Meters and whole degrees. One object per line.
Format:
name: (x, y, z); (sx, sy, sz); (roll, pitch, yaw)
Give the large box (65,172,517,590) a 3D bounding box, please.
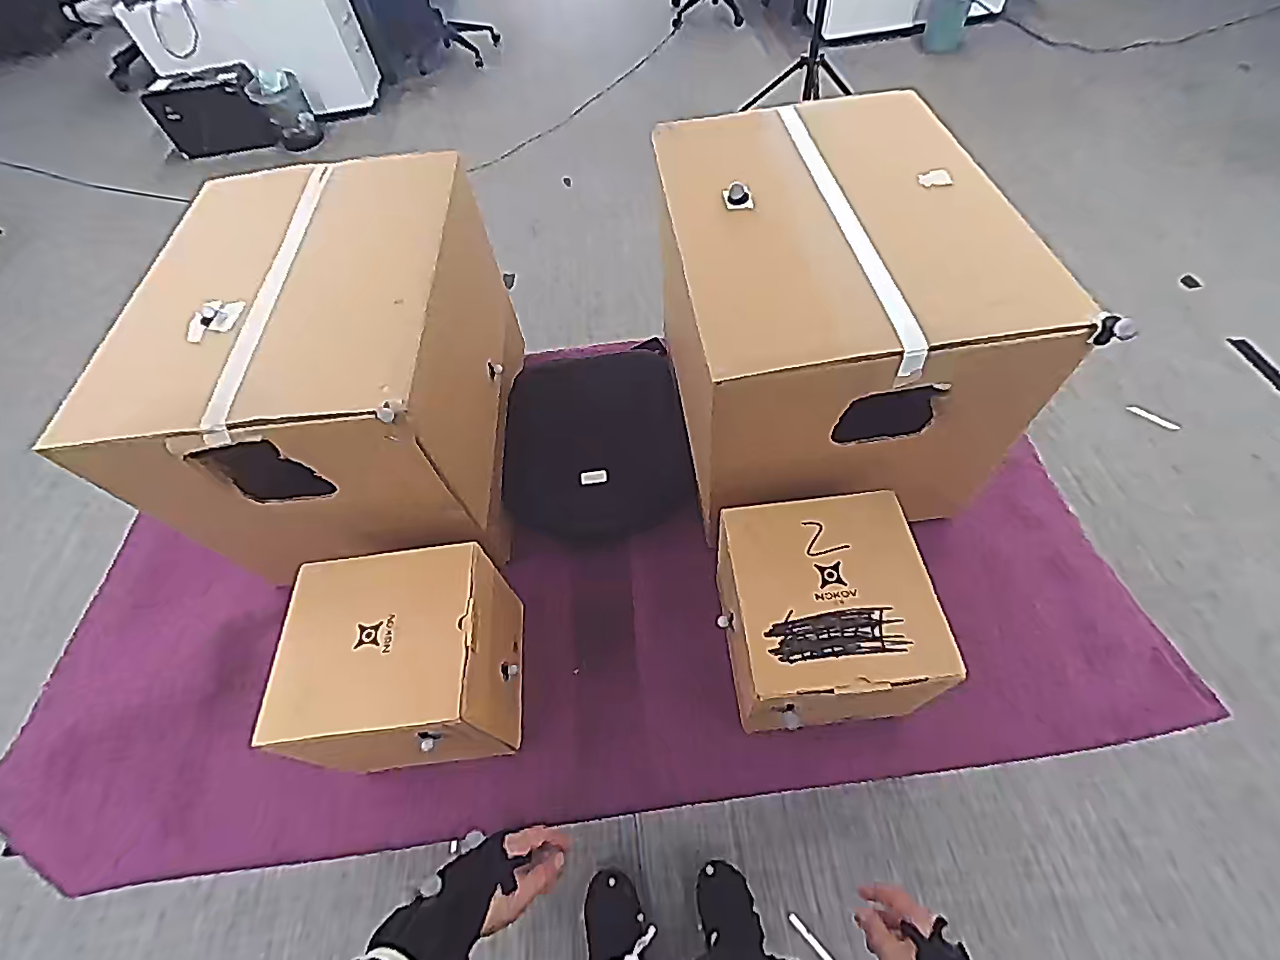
large box: (-0.346, -0.114, 0.682); (0.320, 0.320, 0.408); (-7, 59, 2)
